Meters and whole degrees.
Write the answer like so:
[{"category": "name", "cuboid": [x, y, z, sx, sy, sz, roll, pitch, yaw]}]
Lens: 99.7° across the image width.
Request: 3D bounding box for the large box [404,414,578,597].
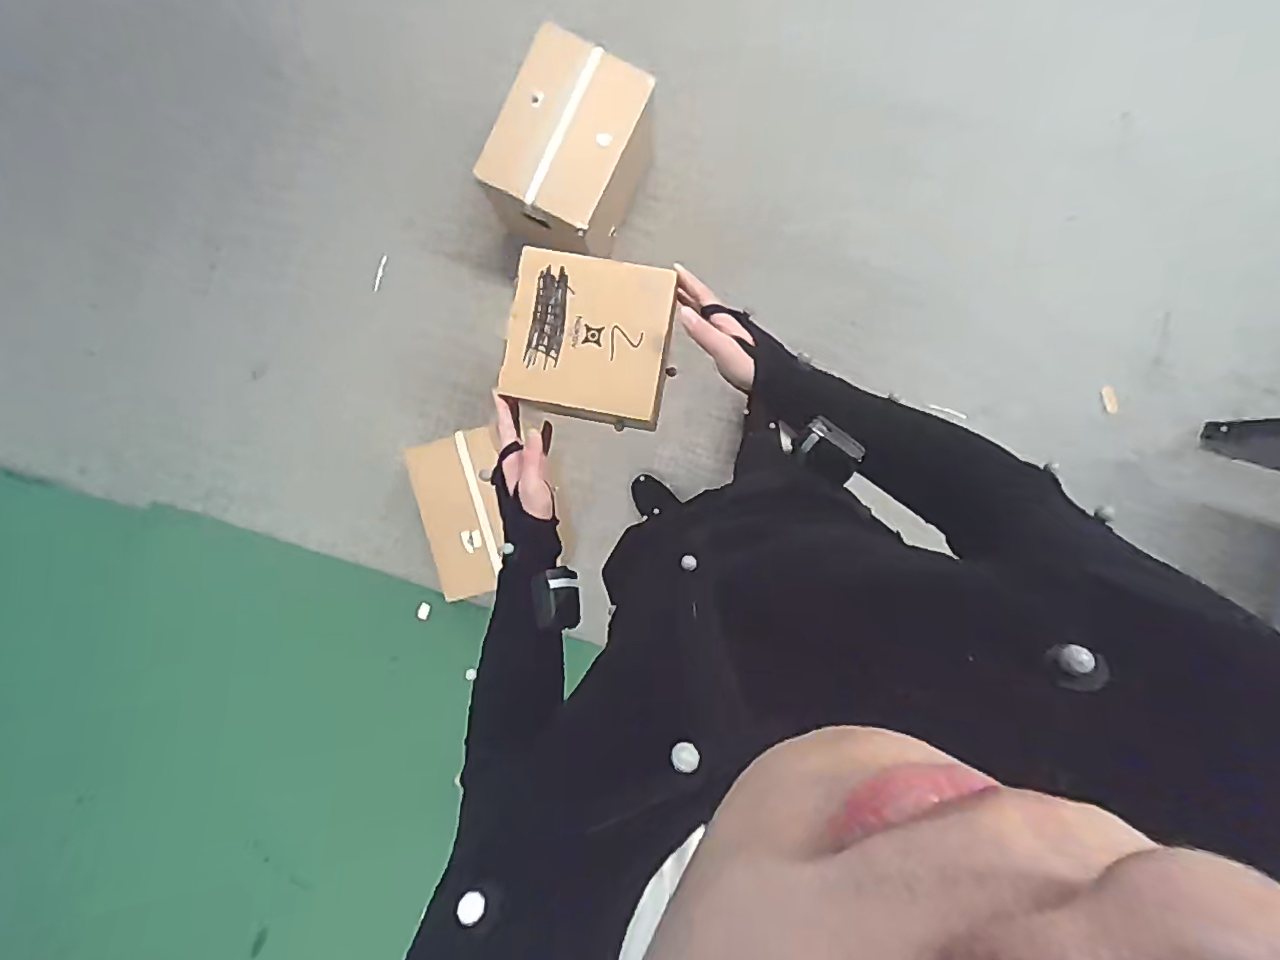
[{"category": "large box", "cuboid": [-0.388, 0.056, 1.502, 0.320, 0.320, 0.408, -16, 94, 3]}]
